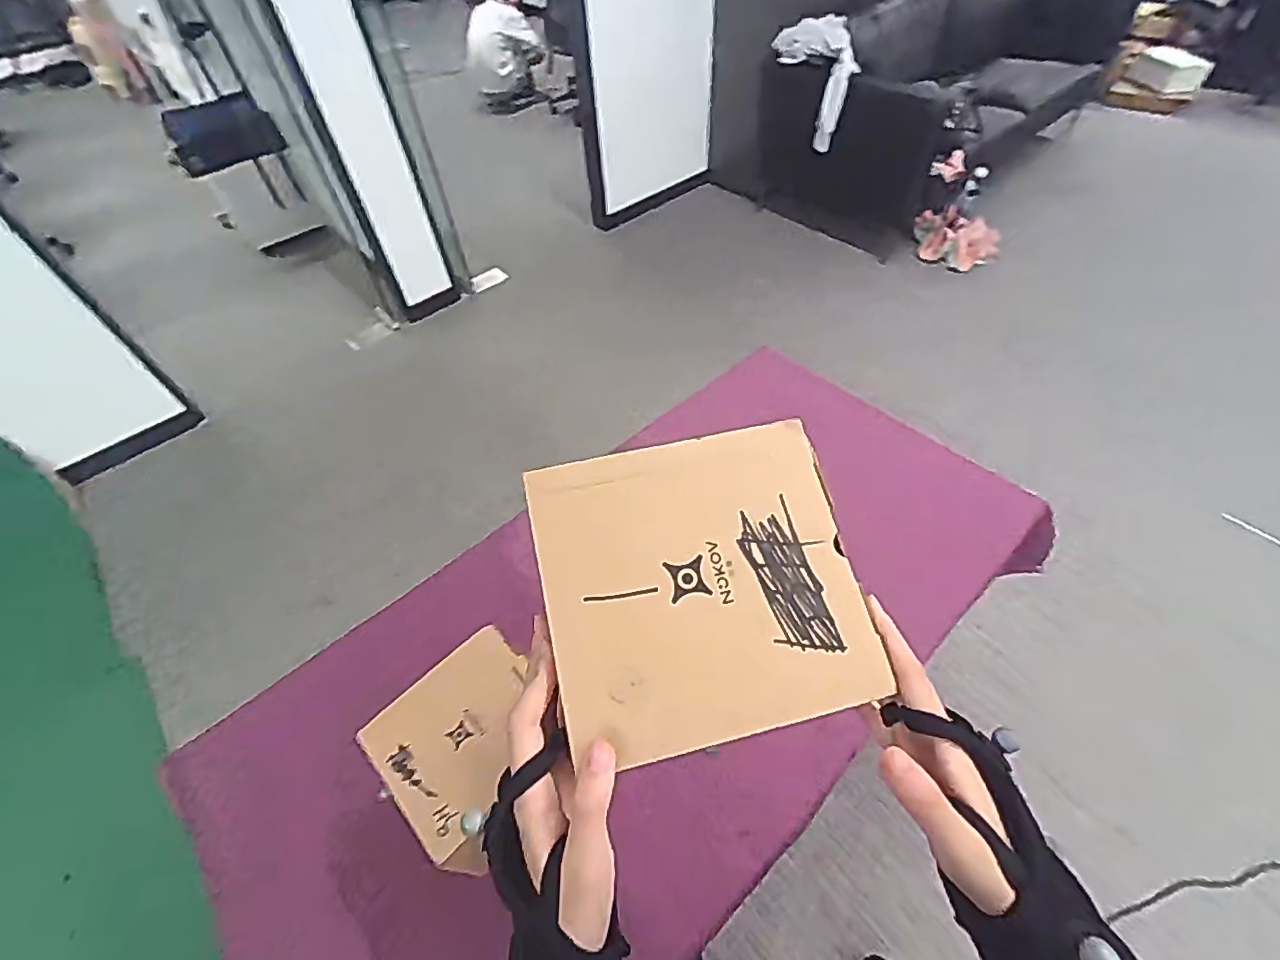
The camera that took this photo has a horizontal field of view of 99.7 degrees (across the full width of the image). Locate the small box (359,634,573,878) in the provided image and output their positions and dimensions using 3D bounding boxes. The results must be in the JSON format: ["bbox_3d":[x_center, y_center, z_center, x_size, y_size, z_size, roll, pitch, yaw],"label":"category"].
[{"bbox_3d":[-0.181,0.323,0.634,0.179,0.176,0.168,-38,59,-24],"label":"small box"}]

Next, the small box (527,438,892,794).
[{"bbox_3d":[0.029,0.090,0.375,0.179,0.176,0.168,-11,71,-7],"label":"small box"}]
